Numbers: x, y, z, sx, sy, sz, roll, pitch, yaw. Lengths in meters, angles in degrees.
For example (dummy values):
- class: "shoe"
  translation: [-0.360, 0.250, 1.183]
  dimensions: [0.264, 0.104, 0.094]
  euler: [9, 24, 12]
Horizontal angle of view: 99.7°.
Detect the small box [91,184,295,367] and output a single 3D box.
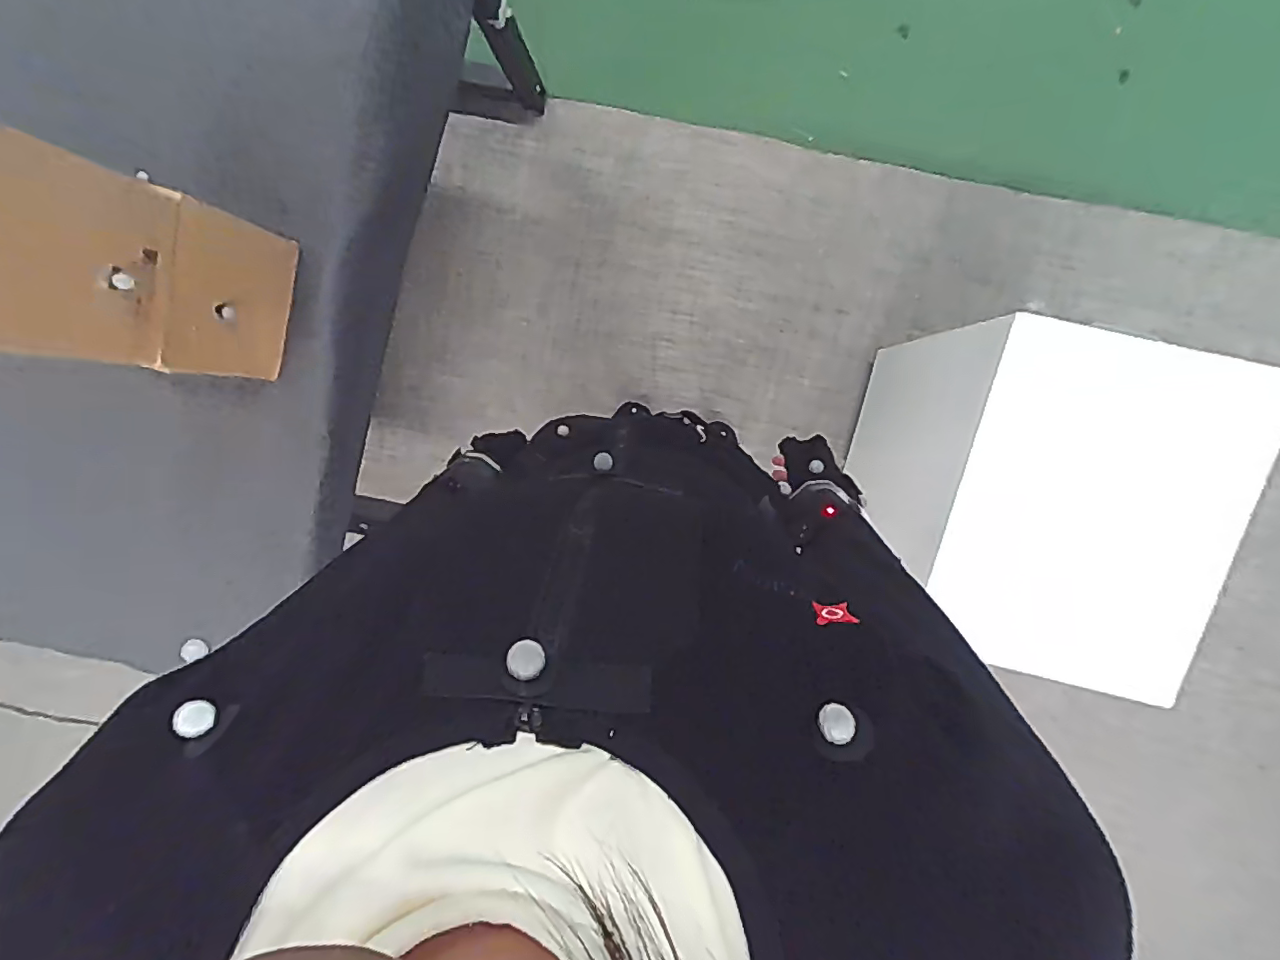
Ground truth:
- class: "small box"
  translation: [-0.536, -0.235, 0.622]
  dimensions: [0.168, 0.176, 0.179]
  euler: [16, 100, 3]
